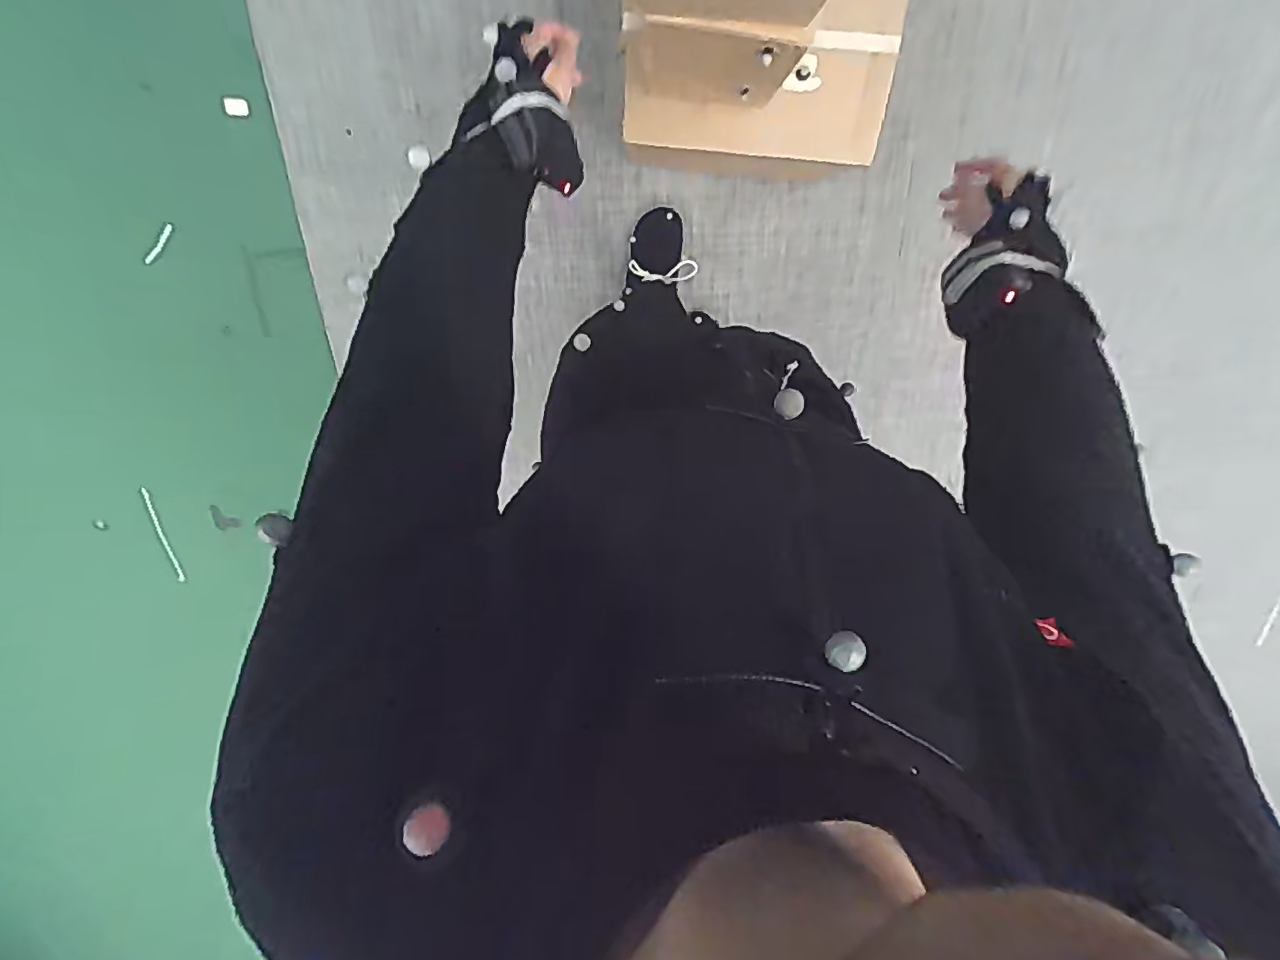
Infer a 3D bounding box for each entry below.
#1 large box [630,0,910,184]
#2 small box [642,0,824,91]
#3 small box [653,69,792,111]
[{"bbox_3d":[0.191,-0.716,0.940,0.408,0.320,0.320,4,115,-1],"label":"large box"},{"bbox_3d":[0.100,-0.543,0.577,0.179,0.176,0.168,7,112,-2],"label":"small box"},{"bbox_3d":[0.113,-0.613,0.724,0.179,0.176,0.168,6,112,1],"label":"small box"}]
